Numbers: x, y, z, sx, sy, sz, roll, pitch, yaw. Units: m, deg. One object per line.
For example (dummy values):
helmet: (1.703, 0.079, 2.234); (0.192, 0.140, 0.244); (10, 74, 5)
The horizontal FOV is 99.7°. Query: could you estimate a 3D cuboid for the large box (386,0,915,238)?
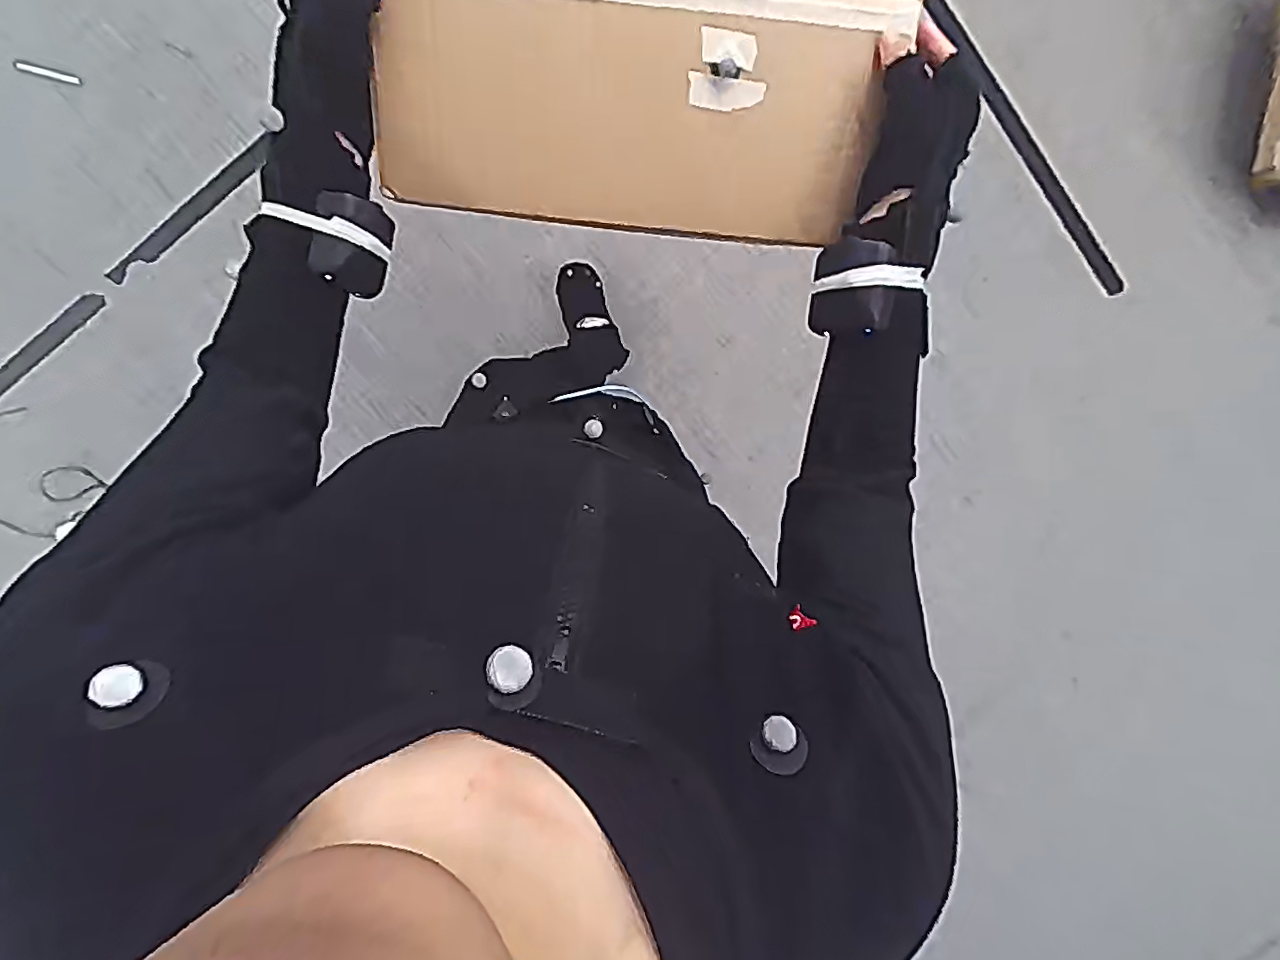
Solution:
large box: (0.005, -0.426, 0.539); (0.408, 0.320, 0.320); (4, 115, -4)
